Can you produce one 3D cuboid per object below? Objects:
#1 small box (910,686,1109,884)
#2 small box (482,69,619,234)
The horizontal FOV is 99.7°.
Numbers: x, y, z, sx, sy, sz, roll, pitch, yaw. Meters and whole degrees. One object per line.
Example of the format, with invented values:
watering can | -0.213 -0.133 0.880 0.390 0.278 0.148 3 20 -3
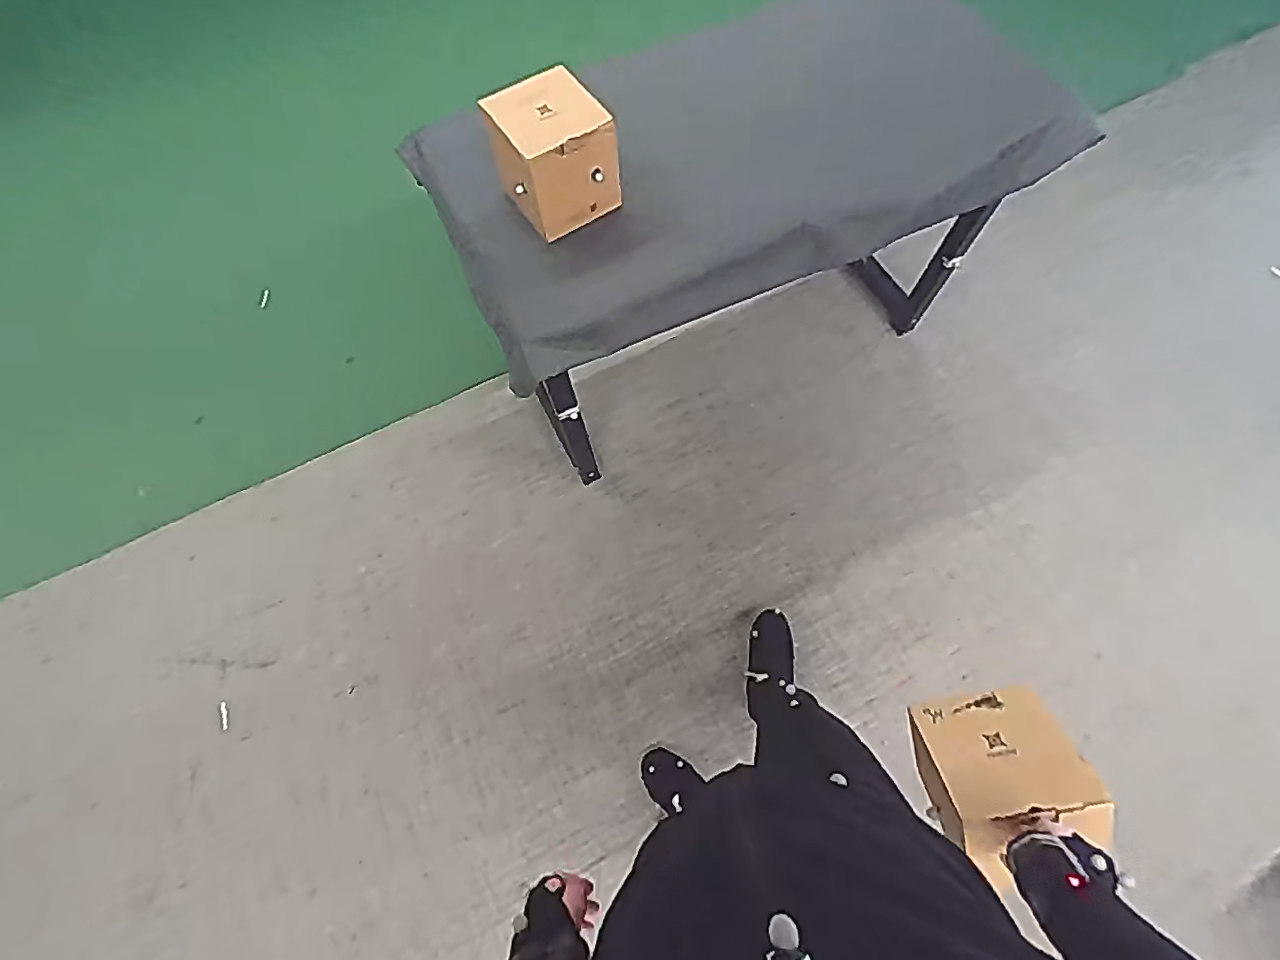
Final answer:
small box | 0.495 0.421 0.743 0.168 0.176 0.179 -14 25 11
small box | -0.149 -0.571 0.963 0.168 0.176 0.179 -32 70 -12
